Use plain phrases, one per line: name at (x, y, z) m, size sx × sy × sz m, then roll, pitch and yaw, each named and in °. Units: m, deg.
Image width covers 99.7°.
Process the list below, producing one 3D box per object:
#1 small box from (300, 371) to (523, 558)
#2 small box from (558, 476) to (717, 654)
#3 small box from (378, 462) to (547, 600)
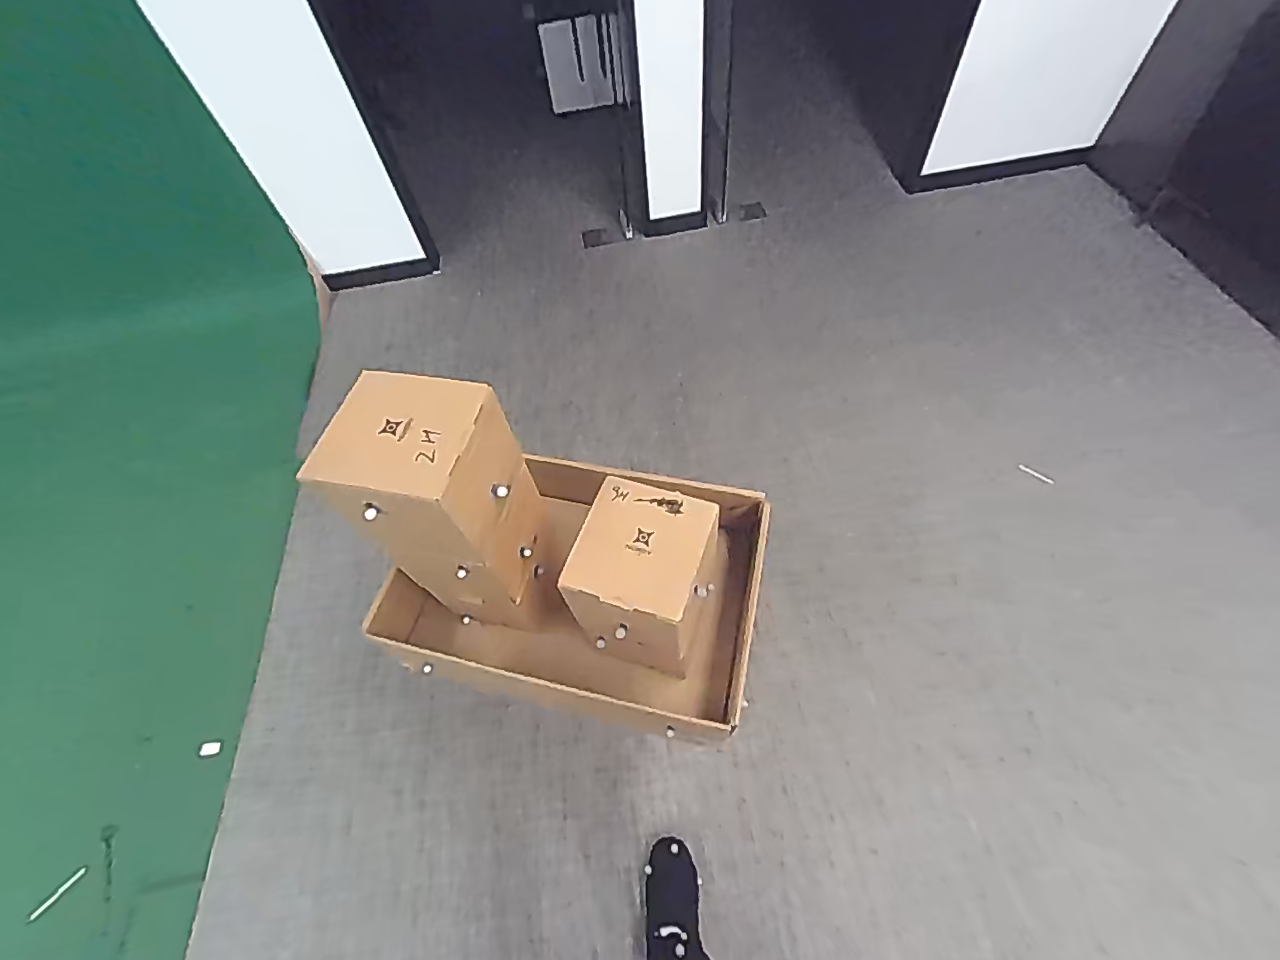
small box at (-0.273, -0.015, 0.693) m, size 0.179 × 0.176 × 0.168 m, roll 9°, pitch 59°, yaw 9°
small box at (0.007, 0.126, 0.772) m, size 0.168 × 0.176 × 0.179 m, roll 16°, pitch 61°, yaw 14°
small box at (-0.263, 0.071, 0.834) m, size 0.179 × 0.176 × 0.168 m, roll 10°, pitch 59°, yaw 9°
